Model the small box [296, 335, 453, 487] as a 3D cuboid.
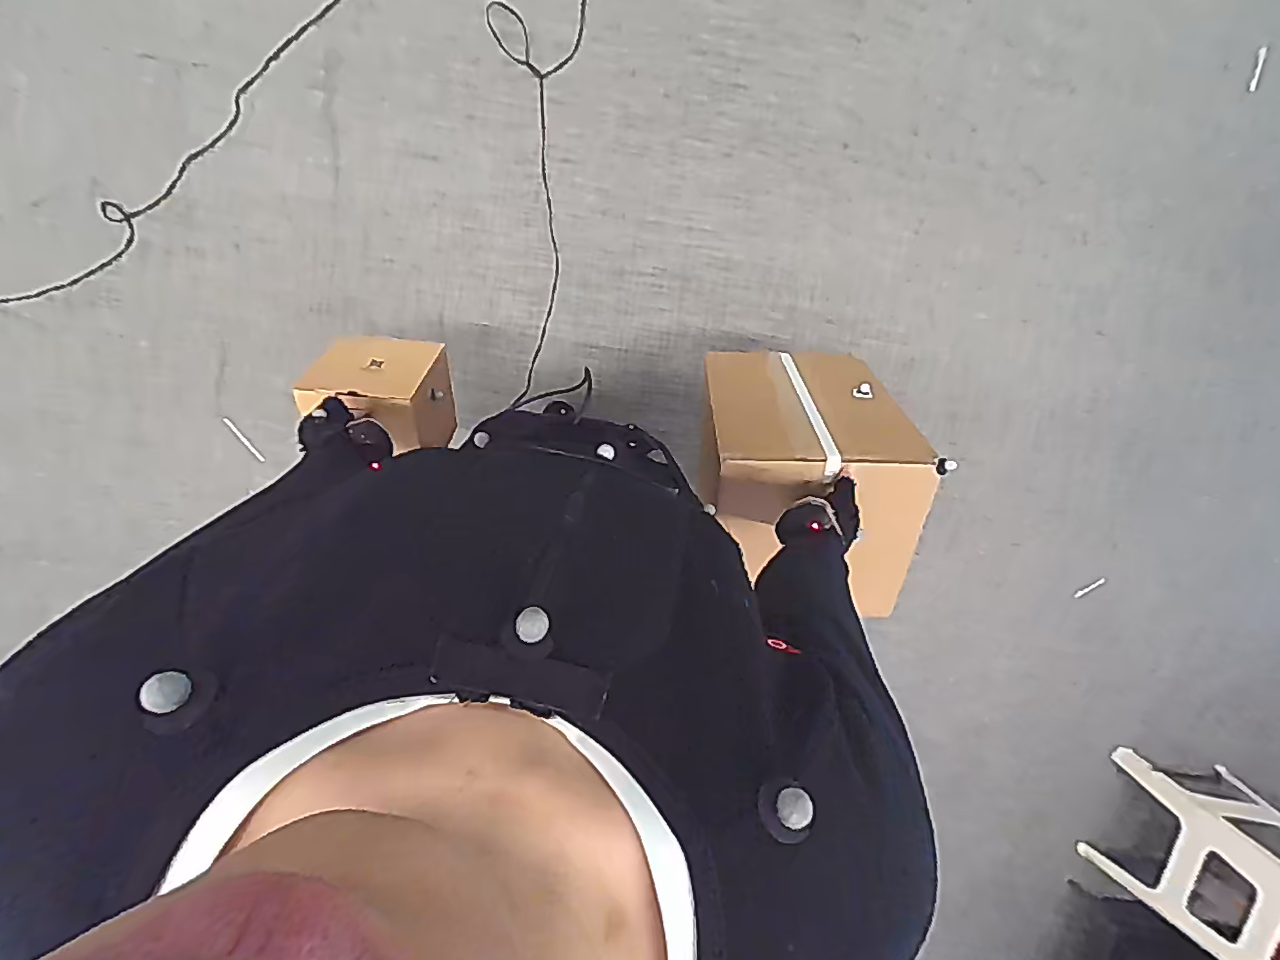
[{"bbox_3d":[-0.412,-0.113,0.878,0.168,0.179,0.176,5,131,-3],"label":"small box"}]
